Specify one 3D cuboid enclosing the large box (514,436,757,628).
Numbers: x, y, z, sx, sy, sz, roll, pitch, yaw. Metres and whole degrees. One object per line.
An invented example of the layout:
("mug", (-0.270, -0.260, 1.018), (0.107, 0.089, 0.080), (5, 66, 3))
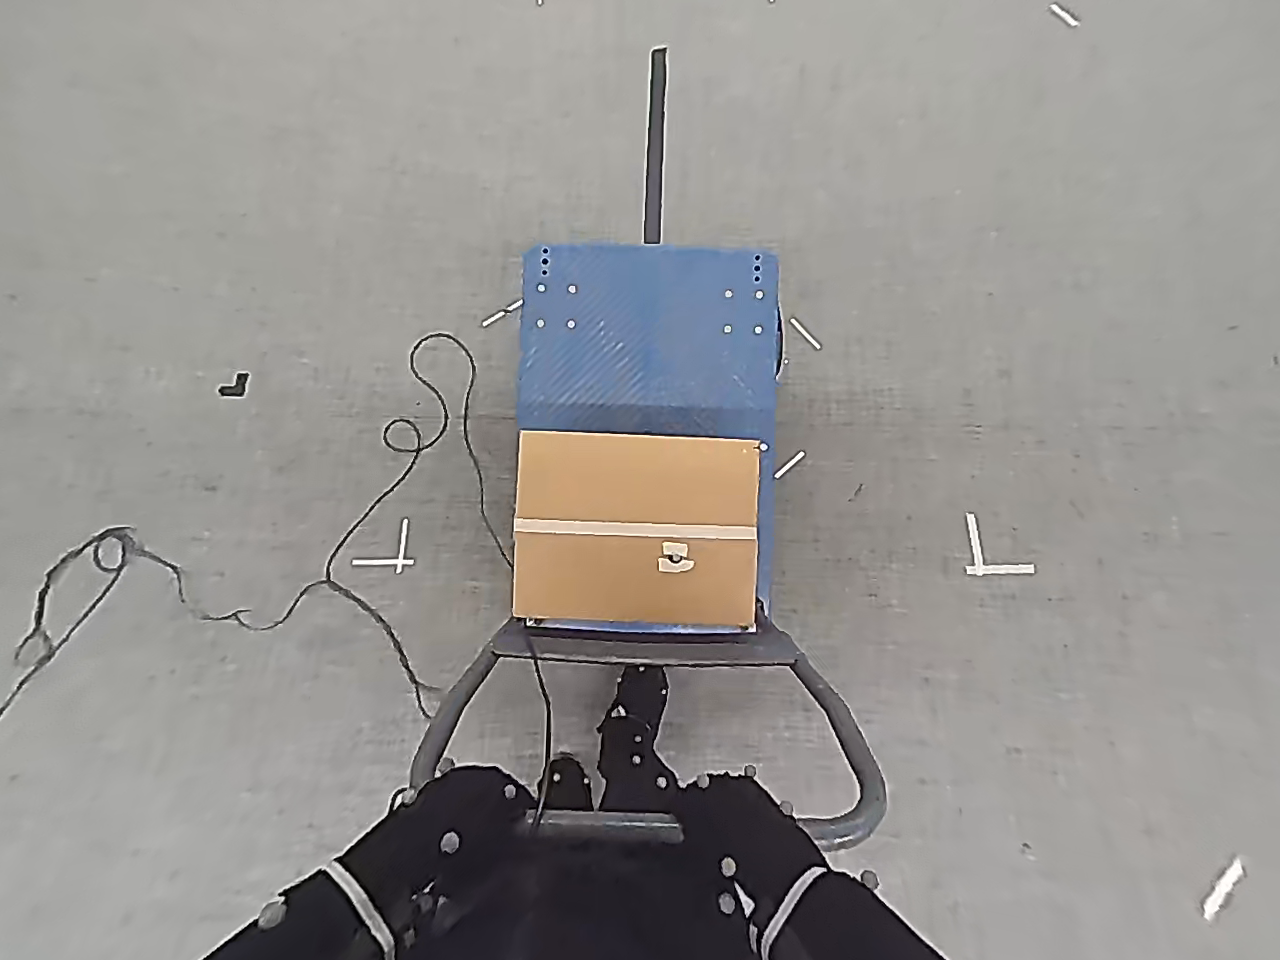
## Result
("large box", (-0.011, 0.092, 1.045), (0.408, 0.320, 0.320), (3, 89, -1))
